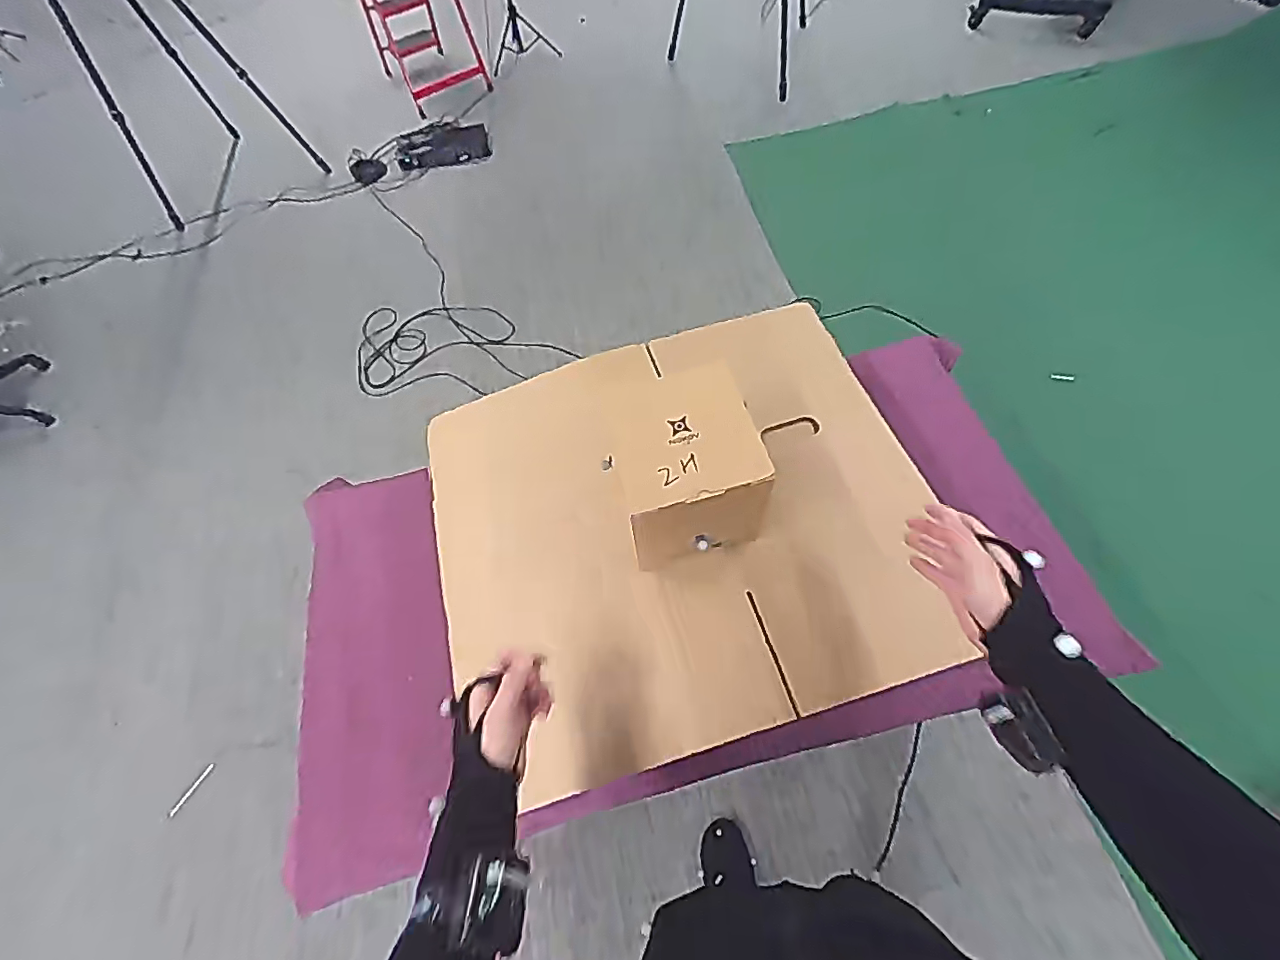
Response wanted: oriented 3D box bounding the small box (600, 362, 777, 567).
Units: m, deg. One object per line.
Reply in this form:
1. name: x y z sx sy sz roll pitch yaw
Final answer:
1. small box: 0.052 -0.015 0.681 0.168 0.176 0.179 -15 61 -4
